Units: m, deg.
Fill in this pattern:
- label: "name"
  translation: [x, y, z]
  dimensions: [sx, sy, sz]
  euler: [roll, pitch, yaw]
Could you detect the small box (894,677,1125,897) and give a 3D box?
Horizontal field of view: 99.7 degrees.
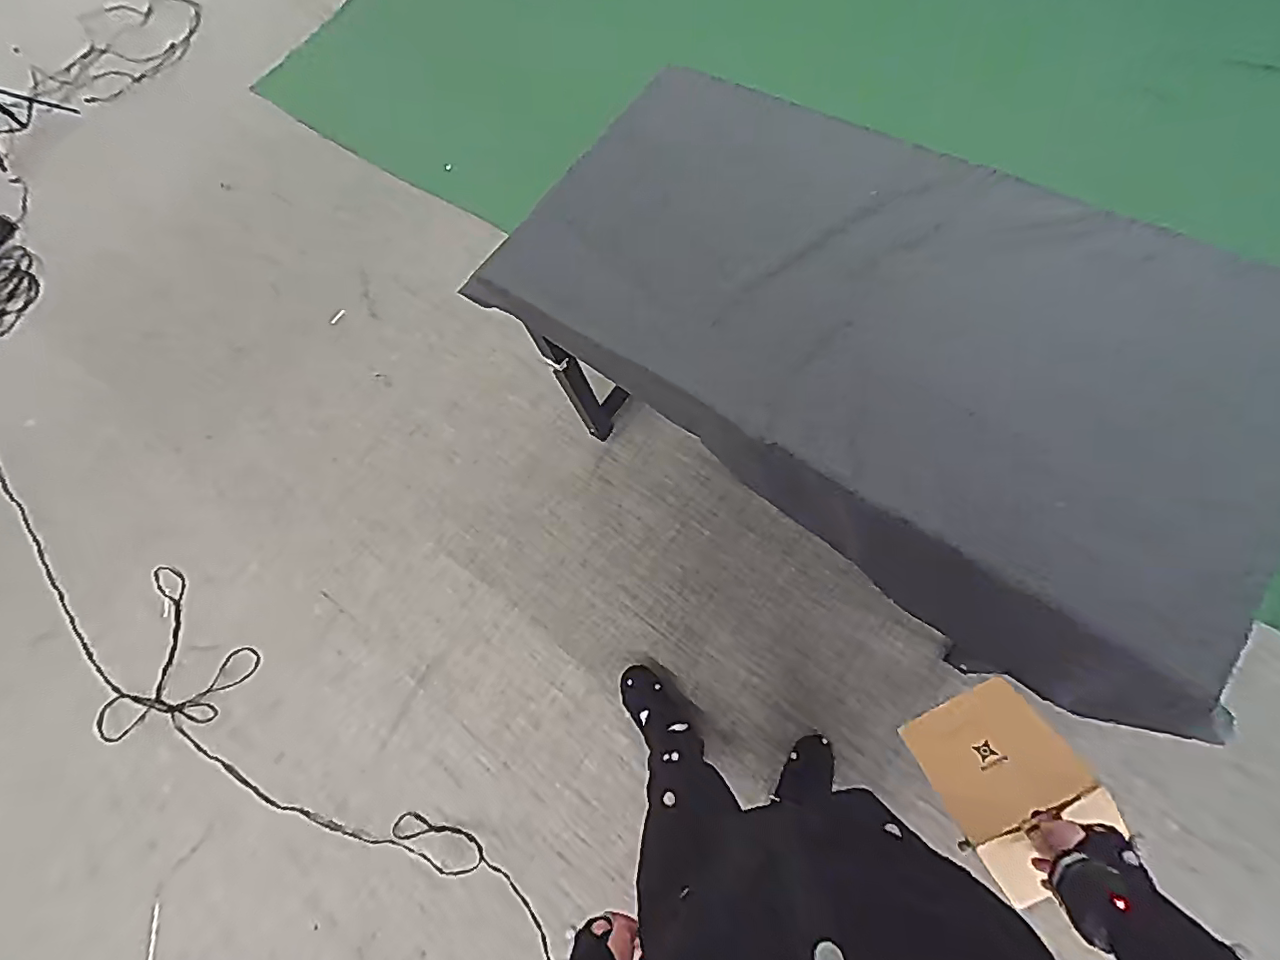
- label: "small box"
  translation: [0.484, 0.410, 0.720]
  dimensions: [0.168, 0.179, 0.176]
  euler: [-33, 112, 9]
